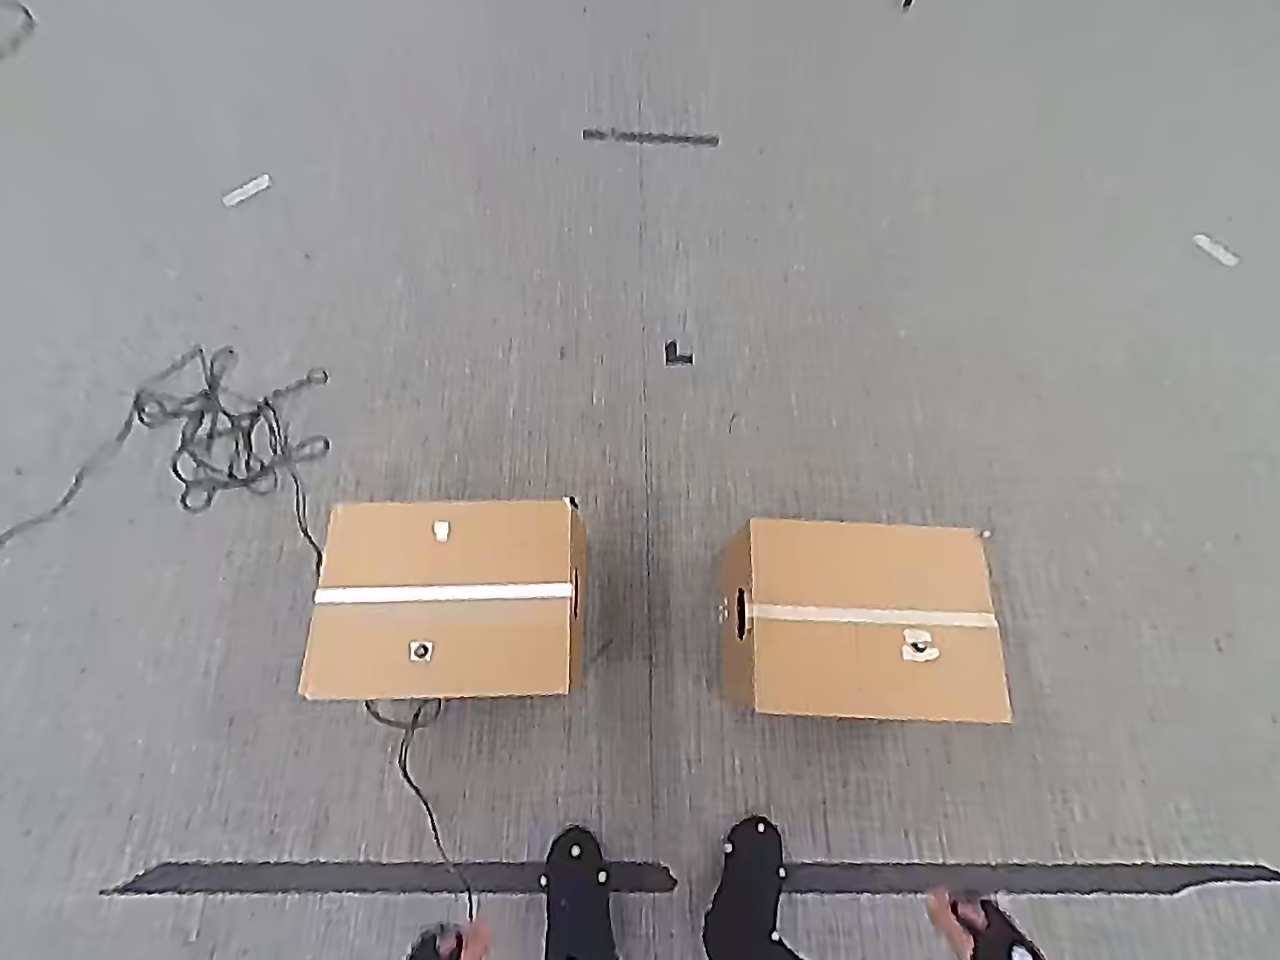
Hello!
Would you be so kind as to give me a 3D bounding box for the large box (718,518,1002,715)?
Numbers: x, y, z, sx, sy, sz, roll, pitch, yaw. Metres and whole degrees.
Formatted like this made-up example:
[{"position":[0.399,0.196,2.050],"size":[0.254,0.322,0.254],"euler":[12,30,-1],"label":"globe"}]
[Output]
[{"position":[0.377,0.270,1.041],"size":[0.408,0.320,0.320],"euler":[3,72,-1],"label":"large box"}]
